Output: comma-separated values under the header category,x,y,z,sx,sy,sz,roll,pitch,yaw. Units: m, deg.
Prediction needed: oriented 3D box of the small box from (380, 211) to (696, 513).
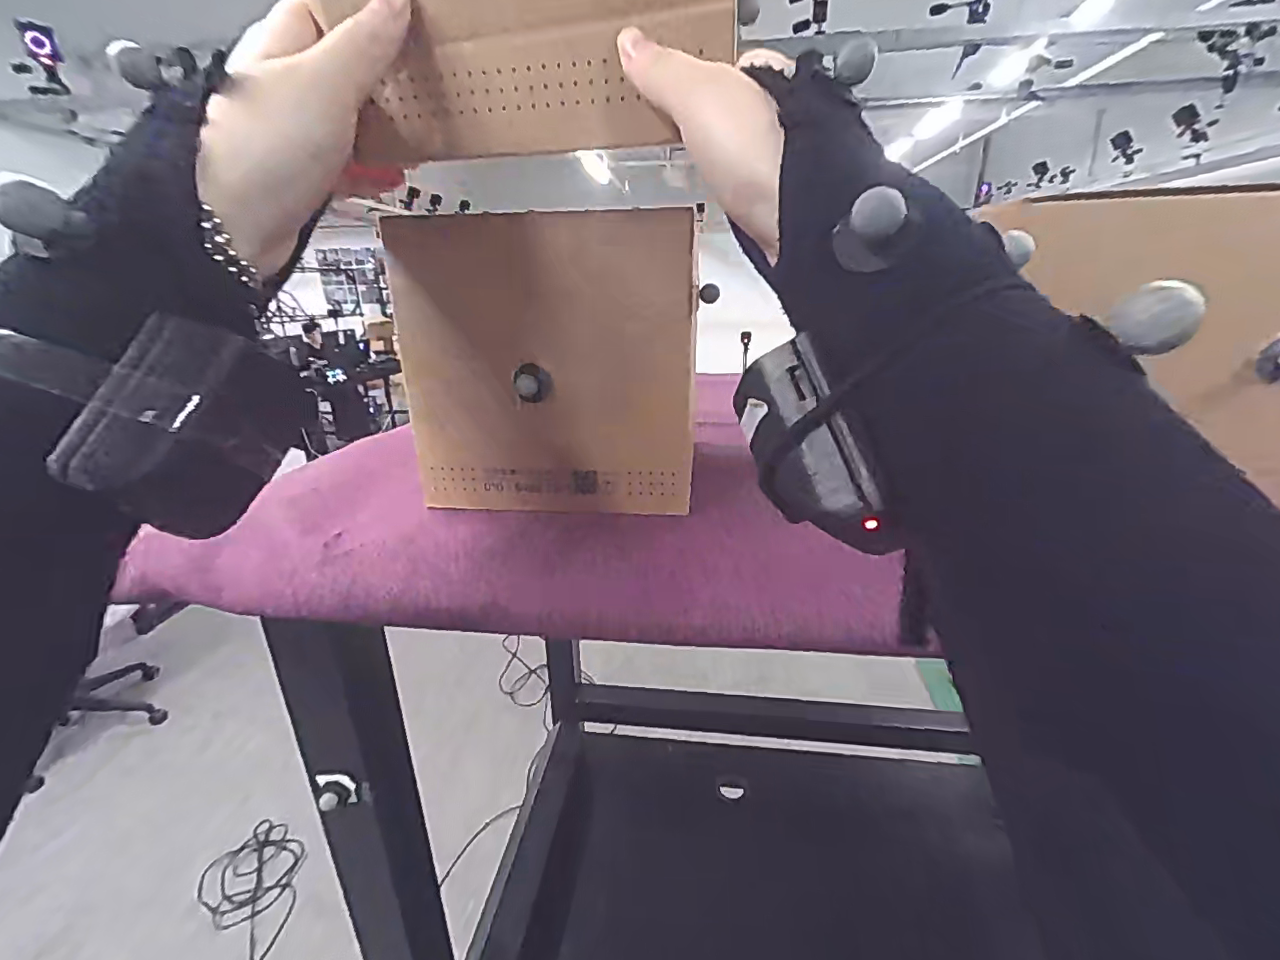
category,x,y,z,sx,sy,sz,roll,pitch,yaw
small box,-0.046,-0.084,0.379,0.168,0.176,0.179,2,20,6

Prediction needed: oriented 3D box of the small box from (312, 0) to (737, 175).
category,x,y,z,sx,sy,sz,roll,pitch,yaw
small box,-0.044,-0.248,0.260,0.179,0.176,0.168,1,32,7

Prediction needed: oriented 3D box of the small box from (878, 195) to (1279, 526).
category,x,y,z,sx,sy,sz,roll,pitch,yaw
small box,0.274,-0.077,0.349,0.179,0.176,0.168,0,19,7
